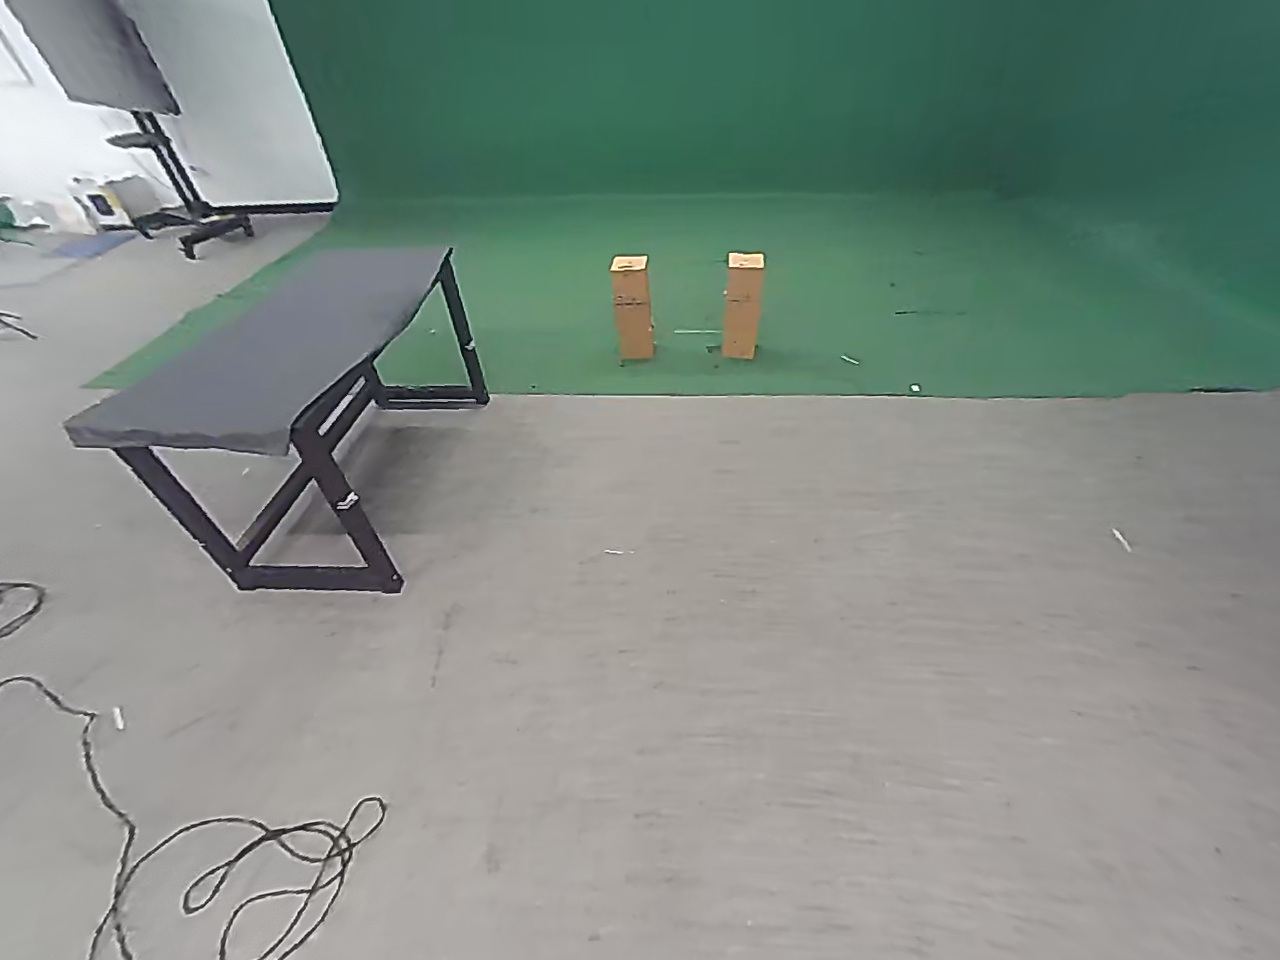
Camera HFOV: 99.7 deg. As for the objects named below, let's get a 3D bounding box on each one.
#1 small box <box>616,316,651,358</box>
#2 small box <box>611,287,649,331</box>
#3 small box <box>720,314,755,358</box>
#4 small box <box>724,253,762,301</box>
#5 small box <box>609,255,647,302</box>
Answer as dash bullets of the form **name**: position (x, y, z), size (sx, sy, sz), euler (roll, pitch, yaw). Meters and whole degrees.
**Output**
- **small box**: position (-0.032, -0.772, 2.925), size (0.179, 0.176, 0.168), euler (1, 44, 4)
- **small box**: position (-0.050, -0.890, 2.814), size (0.179, 0.176, 0.168), euler (3, 44, 5)
- **small box**: position (0.522, -0.767, 2.895), size (0.168, 0.176, 0.179), euler (7, 44, 10)
- **small box**: position (0.504, -1.000, 2.663), size (0.168, 0.176, 0.179), euler (4, 43, 6)
- **small box**: position (-0.057, -1.001, 2.693), size (0.168, 0.176, 0.179), euler (1, 43, 6)
